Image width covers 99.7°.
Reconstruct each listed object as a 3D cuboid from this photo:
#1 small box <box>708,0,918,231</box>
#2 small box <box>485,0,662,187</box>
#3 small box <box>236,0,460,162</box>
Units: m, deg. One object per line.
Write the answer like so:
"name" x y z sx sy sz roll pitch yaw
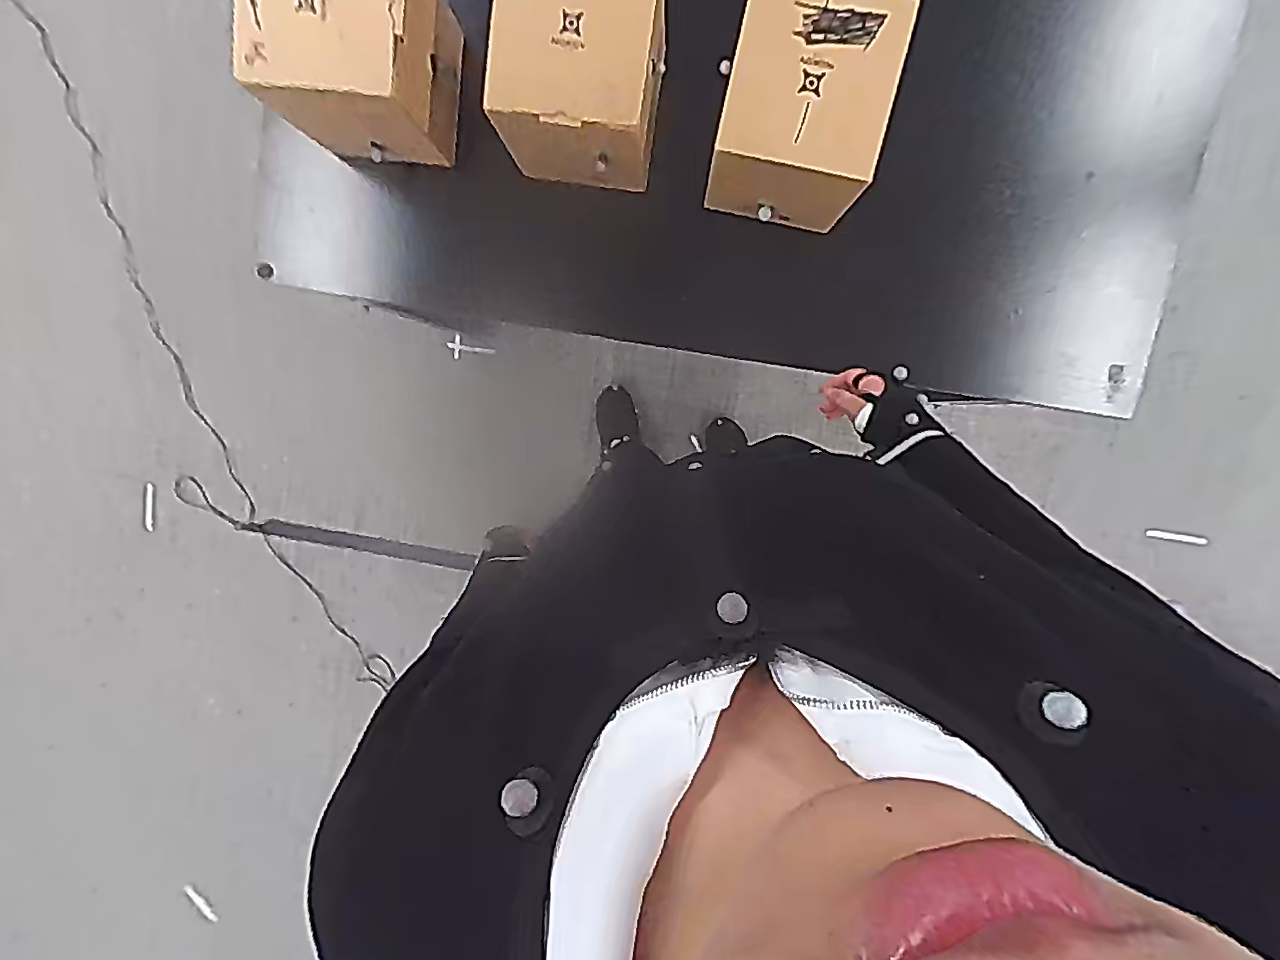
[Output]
"small box" 0.179 -0.414 0.619 0.168 0.176 0.179 13 99 1
"small box" -0.066 -0.467 0.626 0.168 0.176 0.179 8 97 1
"small box" -0.325 -0.499 0.633 0.179 0.176 0.168 7 97 1
